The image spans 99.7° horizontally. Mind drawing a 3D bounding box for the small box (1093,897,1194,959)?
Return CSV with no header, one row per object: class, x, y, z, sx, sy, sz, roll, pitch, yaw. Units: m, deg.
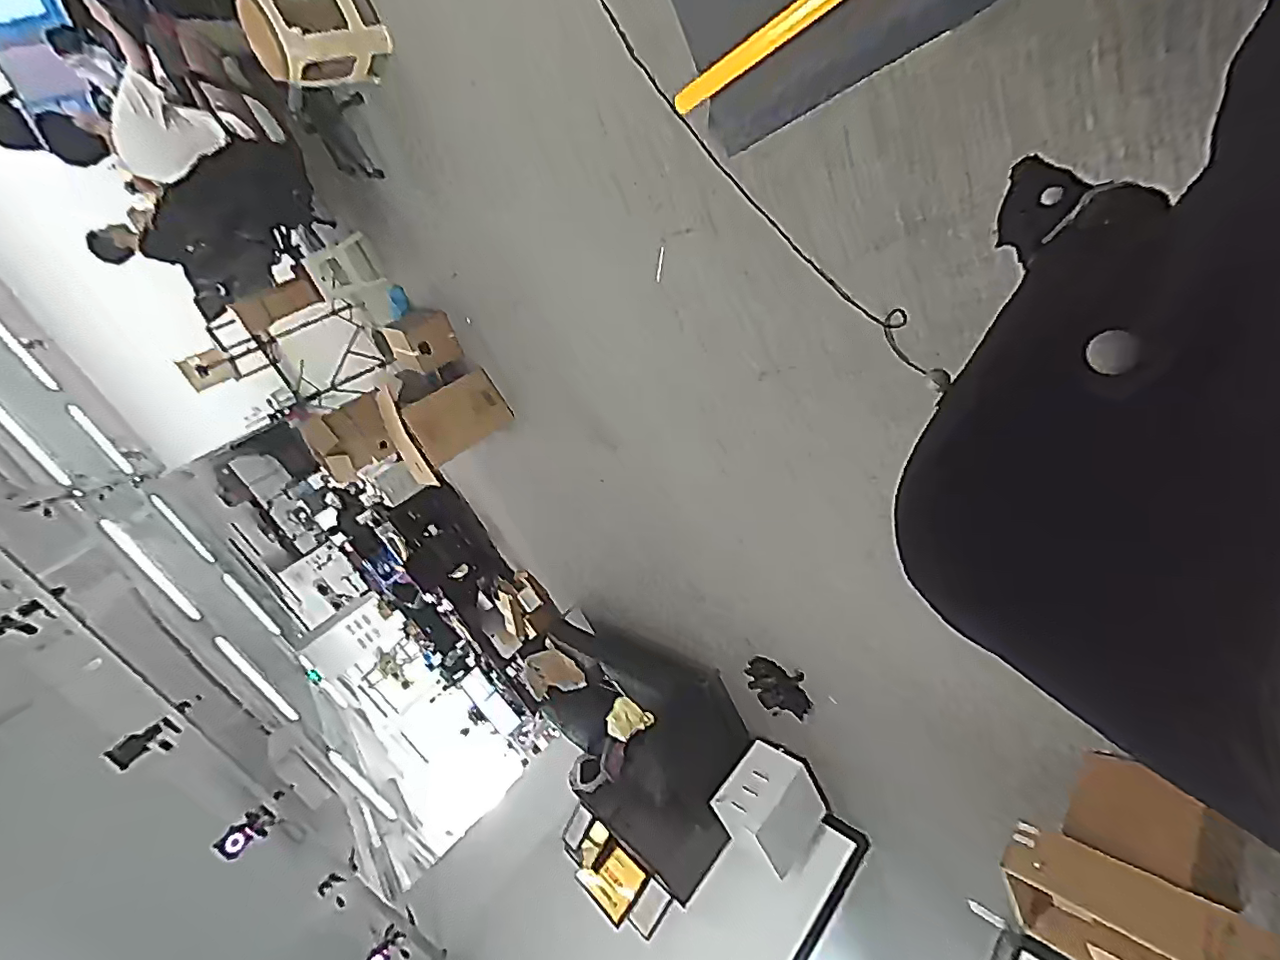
small box,1.414,1.336,1.513,0.168,0.176,0.179,-8,118,56
